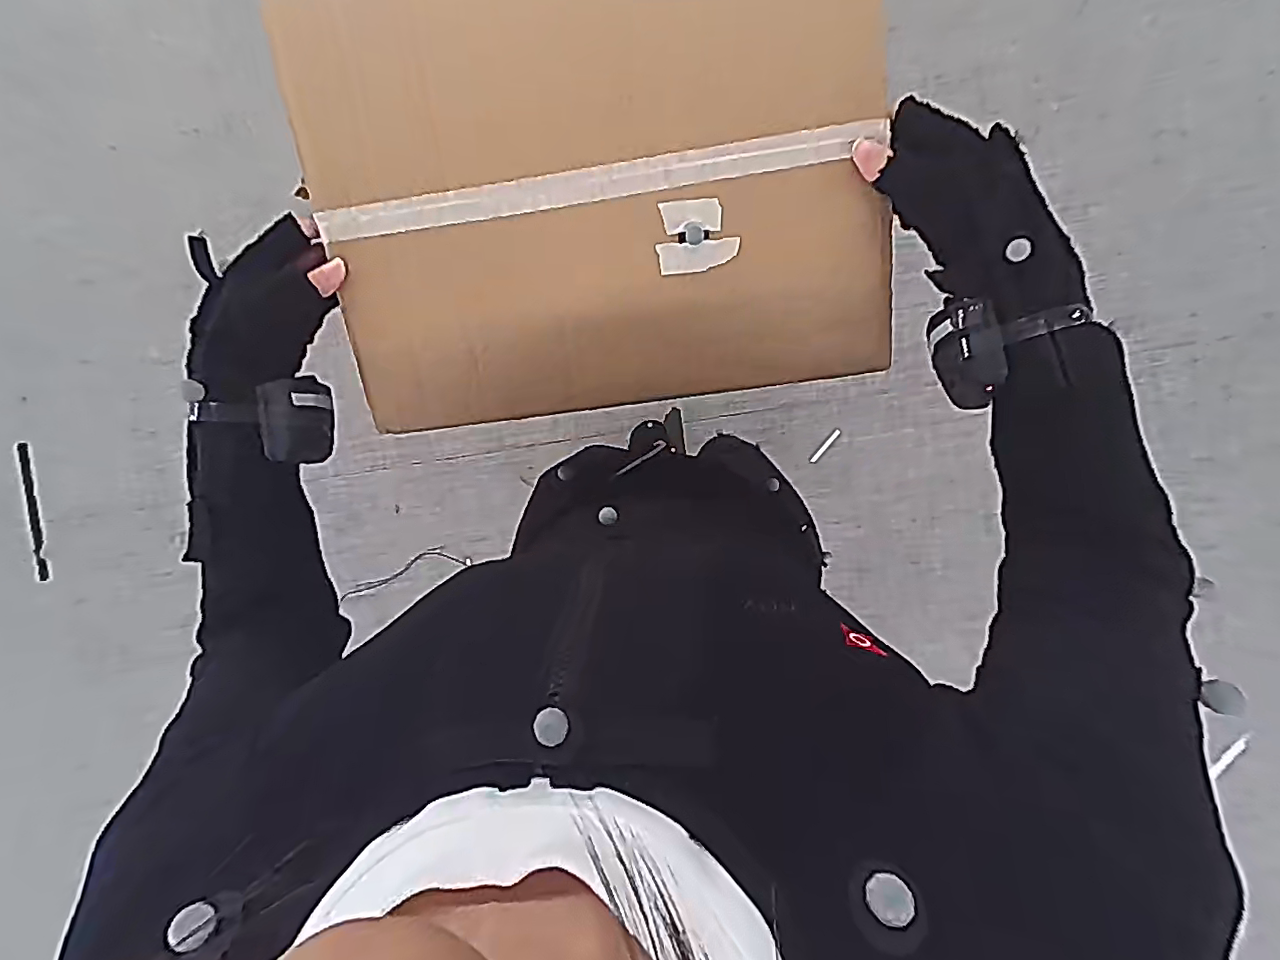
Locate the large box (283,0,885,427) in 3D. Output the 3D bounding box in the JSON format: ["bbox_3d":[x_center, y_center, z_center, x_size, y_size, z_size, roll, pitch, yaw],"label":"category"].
[{"bbox_3d":[-0.025,-0.257,0.536,0.408,0.320,0.320,-8,107,4],"label":"large box"}]
